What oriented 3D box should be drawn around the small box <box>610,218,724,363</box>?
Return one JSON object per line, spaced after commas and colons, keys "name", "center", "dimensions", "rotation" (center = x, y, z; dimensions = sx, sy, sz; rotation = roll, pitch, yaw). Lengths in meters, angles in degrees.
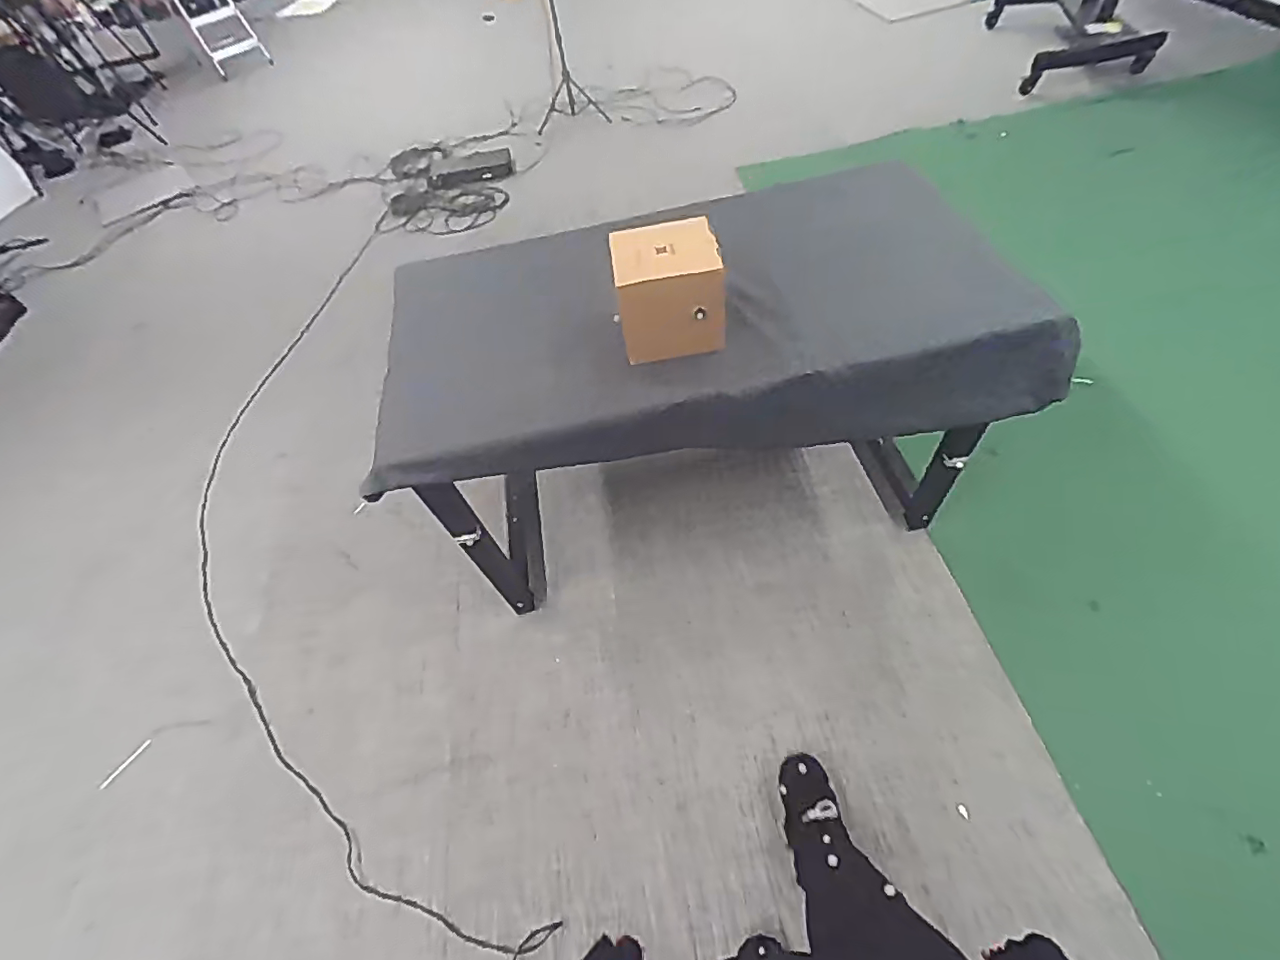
{"name": "small box", "center": [0.051, -0.334, 0.968], "dimensions": [0.179, 0.176, 0.168], "rotation": [-10, 53, 3]}
